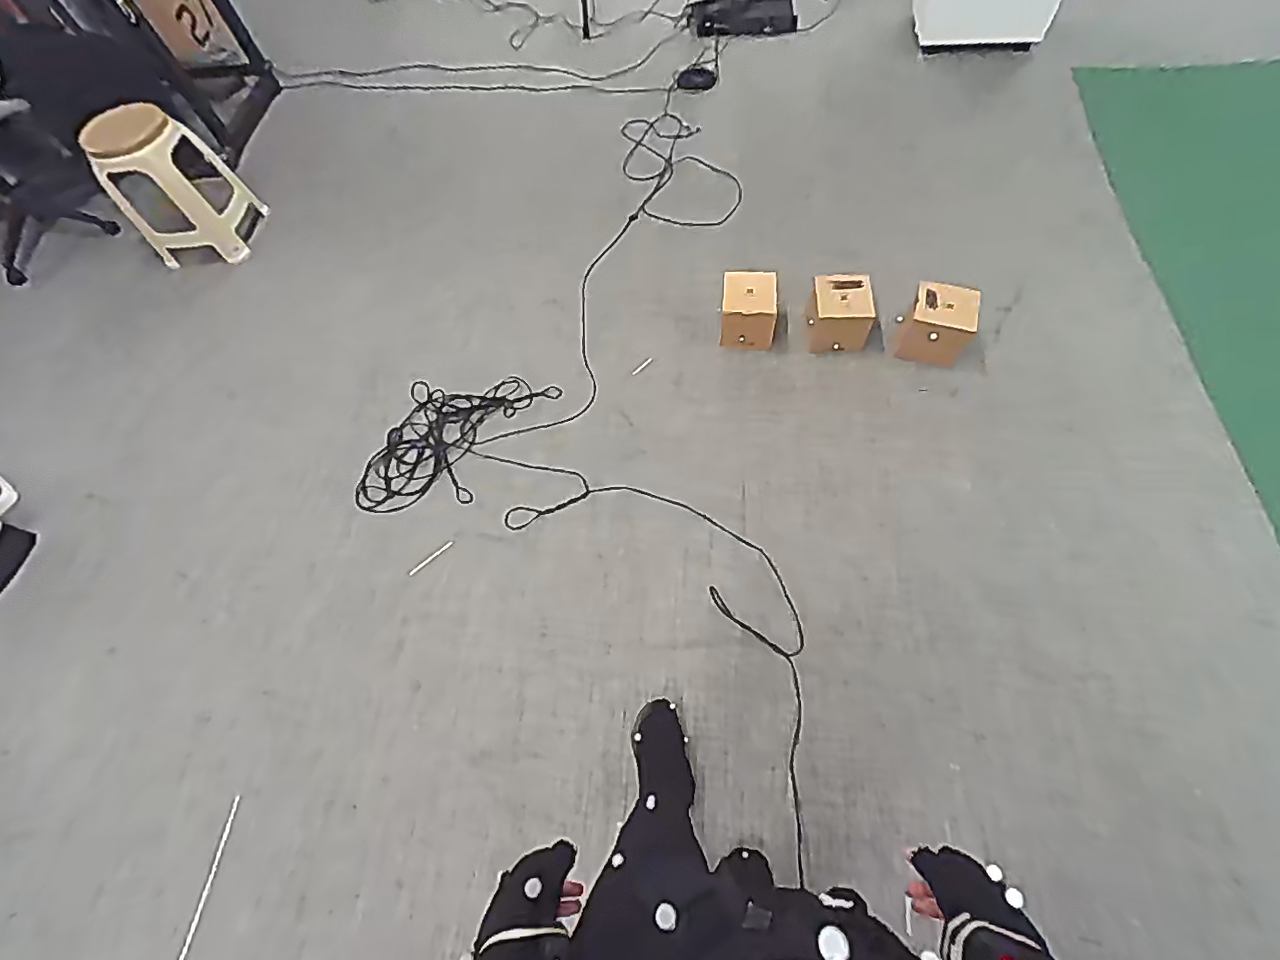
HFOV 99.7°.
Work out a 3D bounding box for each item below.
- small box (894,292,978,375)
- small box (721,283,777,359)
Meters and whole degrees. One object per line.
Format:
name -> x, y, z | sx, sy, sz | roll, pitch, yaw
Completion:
small box -> 0.912, -0.450, 1.679 | 0.179, 0.176, 0.168 | 16, 65, 12
small box -> 0.353, -0.520, 1.773 | 0.168, 0.176, 0.179 | 3, 63, 7
